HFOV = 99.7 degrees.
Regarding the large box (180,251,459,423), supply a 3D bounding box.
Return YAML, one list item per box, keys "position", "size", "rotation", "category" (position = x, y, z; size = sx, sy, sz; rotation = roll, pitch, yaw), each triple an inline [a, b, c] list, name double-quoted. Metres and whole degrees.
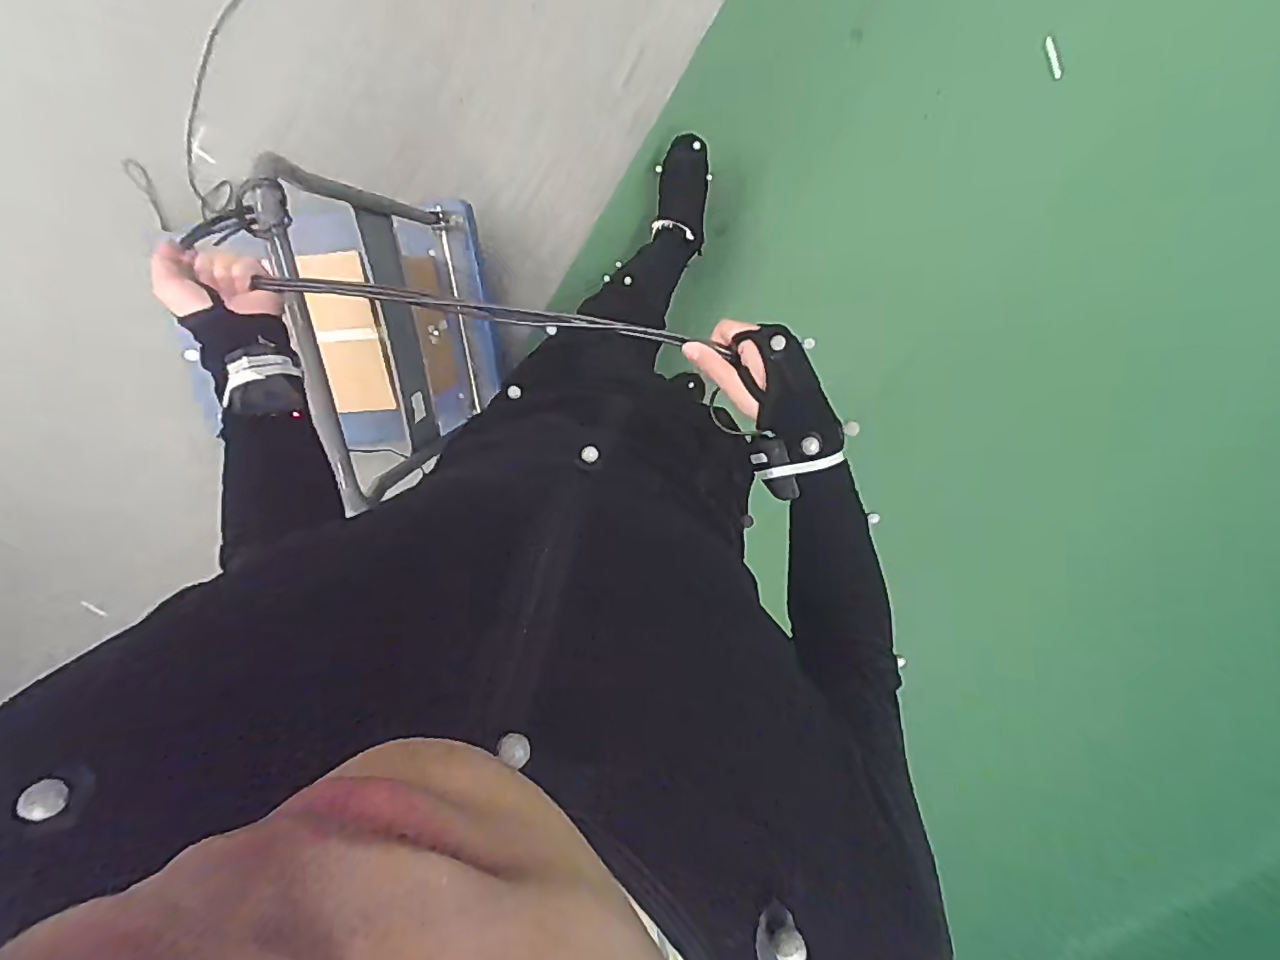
- position: [-0.692, -0.330, 1.238]
  size: [0.408, 0.320, 0.320]
  rotation: [-3, 109, 8]
  category: "large box"
